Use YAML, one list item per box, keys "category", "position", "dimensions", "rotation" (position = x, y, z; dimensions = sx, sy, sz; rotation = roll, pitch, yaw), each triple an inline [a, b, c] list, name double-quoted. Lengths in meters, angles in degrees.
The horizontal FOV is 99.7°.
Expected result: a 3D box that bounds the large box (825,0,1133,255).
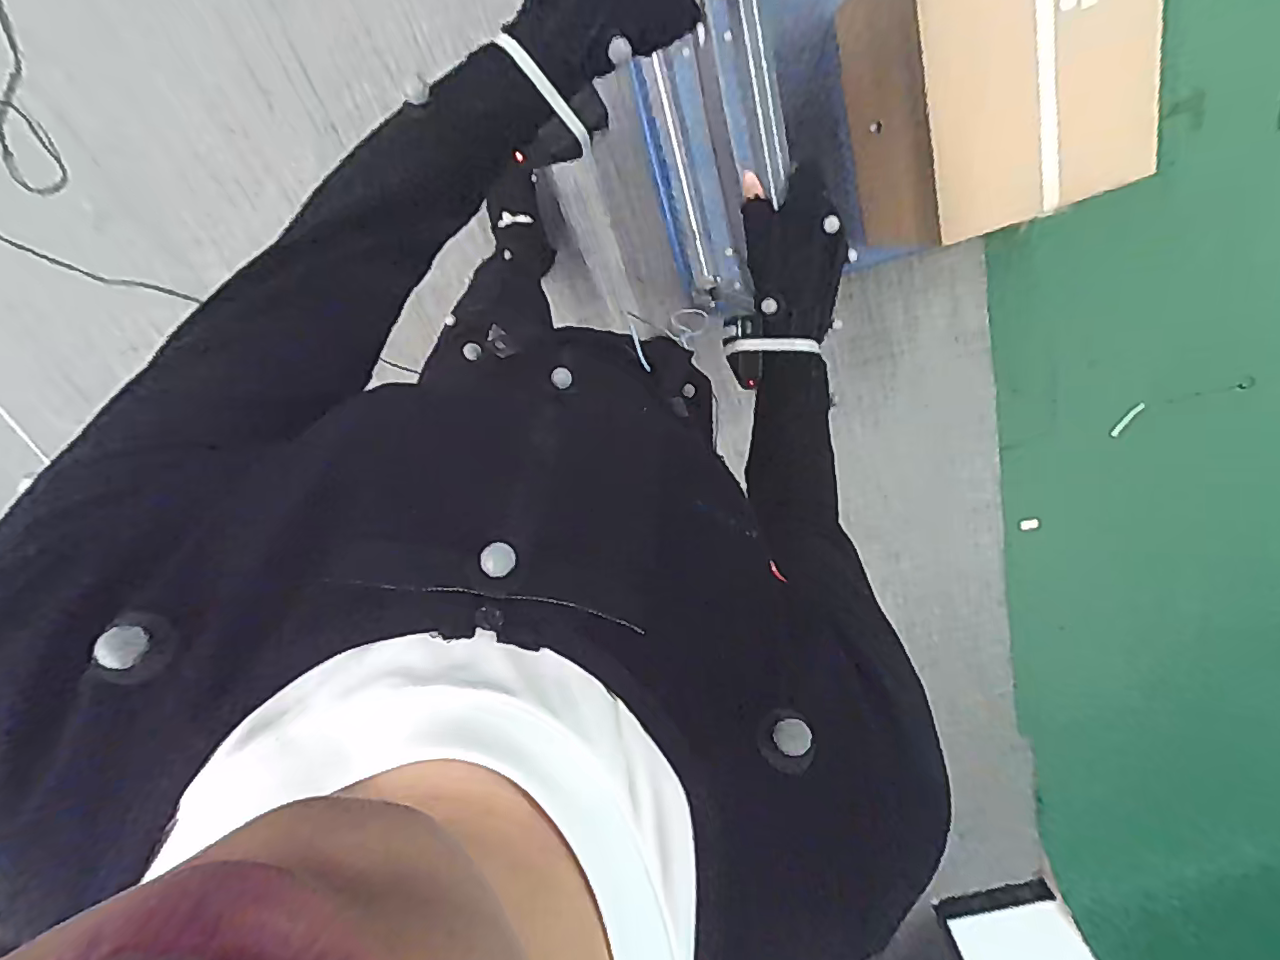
- category: "large box"
  position: [0.534, -0.630, 0.897]
  dimensions: [0.320, 0.320, 0.408]
  rotation: [-17, 111, 7]
